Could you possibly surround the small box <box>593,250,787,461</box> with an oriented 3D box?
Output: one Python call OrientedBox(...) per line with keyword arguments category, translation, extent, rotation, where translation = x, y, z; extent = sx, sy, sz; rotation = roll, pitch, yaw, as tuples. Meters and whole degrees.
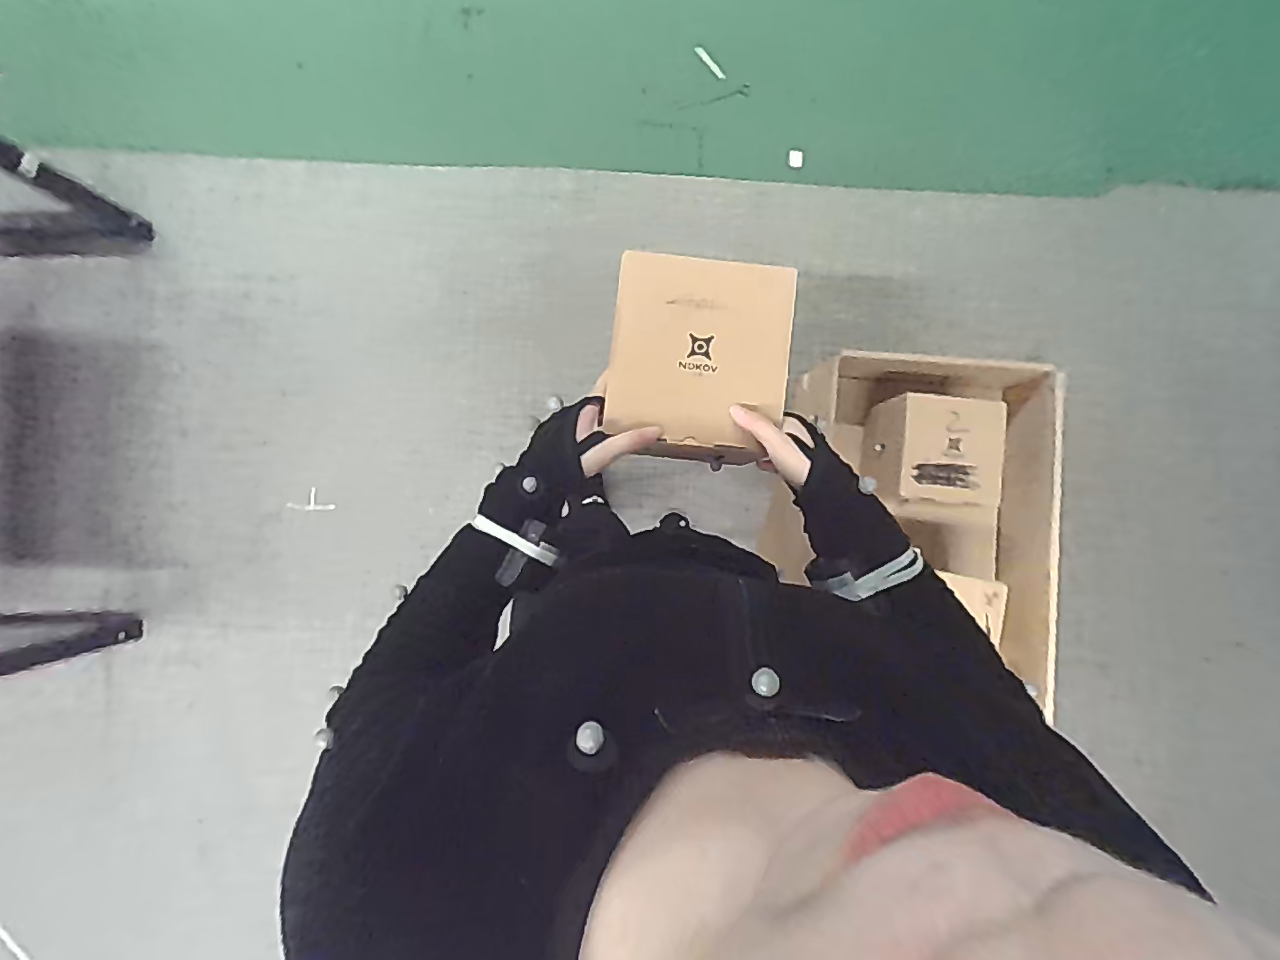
OrientedBox(category="small box", translation=(0.048, -0.117, 0.578), extent=(0.168, 0.176, 0.179), rotation=(6, 88, 1))
